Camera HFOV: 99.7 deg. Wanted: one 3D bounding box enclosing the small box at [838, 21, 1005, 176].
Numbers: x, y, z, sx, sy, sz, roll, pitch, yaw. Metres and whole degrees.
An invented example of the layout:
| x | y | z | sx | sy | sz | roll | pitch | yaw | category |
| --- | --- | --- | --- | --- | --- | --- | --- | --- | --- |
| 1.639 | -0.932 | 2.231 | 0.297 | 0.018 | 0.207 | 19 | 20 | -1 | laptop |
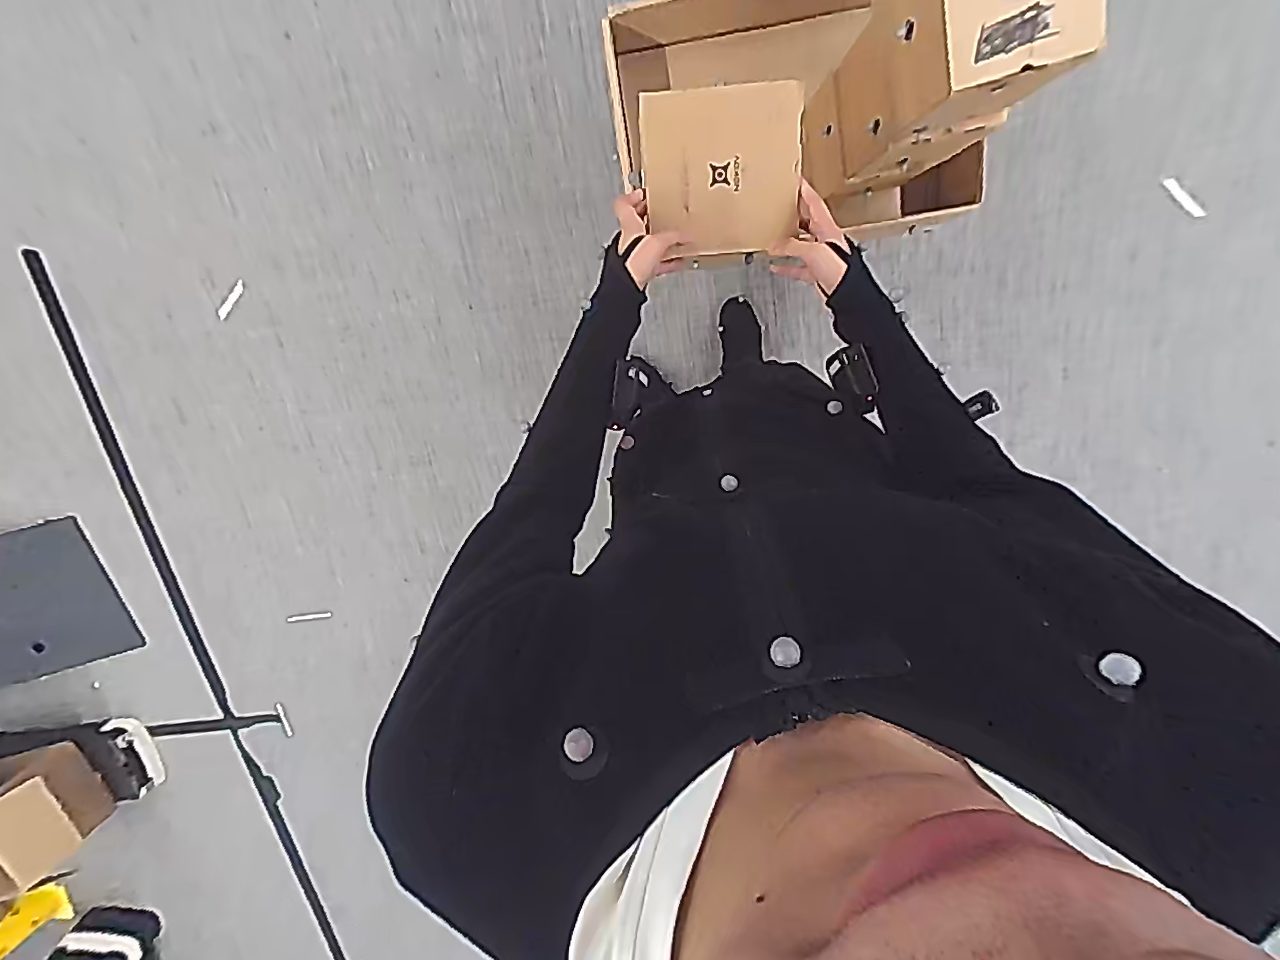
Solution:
| x | y | z | sx | sy | sz | roll | pitch | yaw | category |
| --- | --- | --- | --- | --- | --- | --- | --- | --- | --- |
| 0.405 | -0.581 | 0.802 | 0.168 | 0.176 | 0.179 | -11 | 106 | 4 | small box |

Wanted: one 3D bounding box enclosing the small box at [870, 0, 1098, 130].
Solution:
| x | y | z | sx | sy | sz | roll | pitch | yaw | category |
| --- | --- | --- | --- | --- | --- | --- | --- | --- | --- |
| 0.393 | -0.546 | 0.641 | 0.168 | 0.176 | 0.179 | -14 | 105 | 5 | small box |

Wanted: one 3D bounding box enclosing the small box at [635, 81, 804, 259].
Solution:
| x | y | z | sx | sy | sz | roll | pitch | yaw | category |
| --- | --- | --- | --- | --- | --- | --- | --- | --- | --- |
| 0.088 | -0.369 | 0.668 | 0.179 | 0.176 | 0.168 | -4 | 112 | 0 | small box |
